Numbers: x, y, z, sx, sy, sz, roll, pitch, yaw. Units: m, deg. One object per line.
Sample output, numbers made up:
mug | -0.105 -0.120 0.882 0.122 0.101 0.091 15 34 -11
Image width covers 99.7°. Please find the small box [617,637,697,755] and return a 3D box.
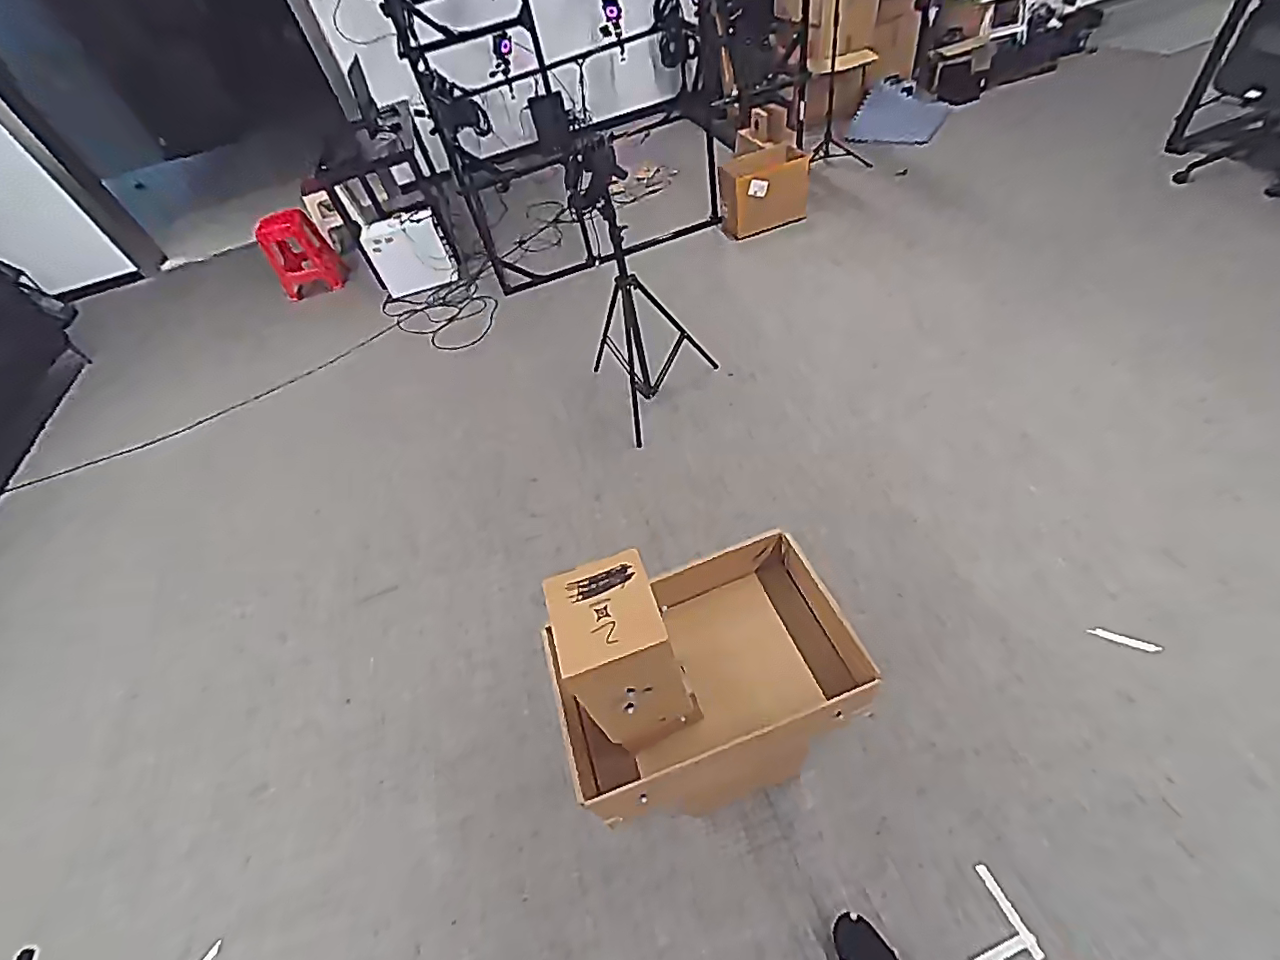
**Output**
small box | 0.011 0.449 1.146 0.179 0.176 0.168 -25 48 -7

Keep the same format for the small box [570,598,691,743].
small box | -0.016 0.358 1.012 0.168 0.176 0.179 -21 47 -3
